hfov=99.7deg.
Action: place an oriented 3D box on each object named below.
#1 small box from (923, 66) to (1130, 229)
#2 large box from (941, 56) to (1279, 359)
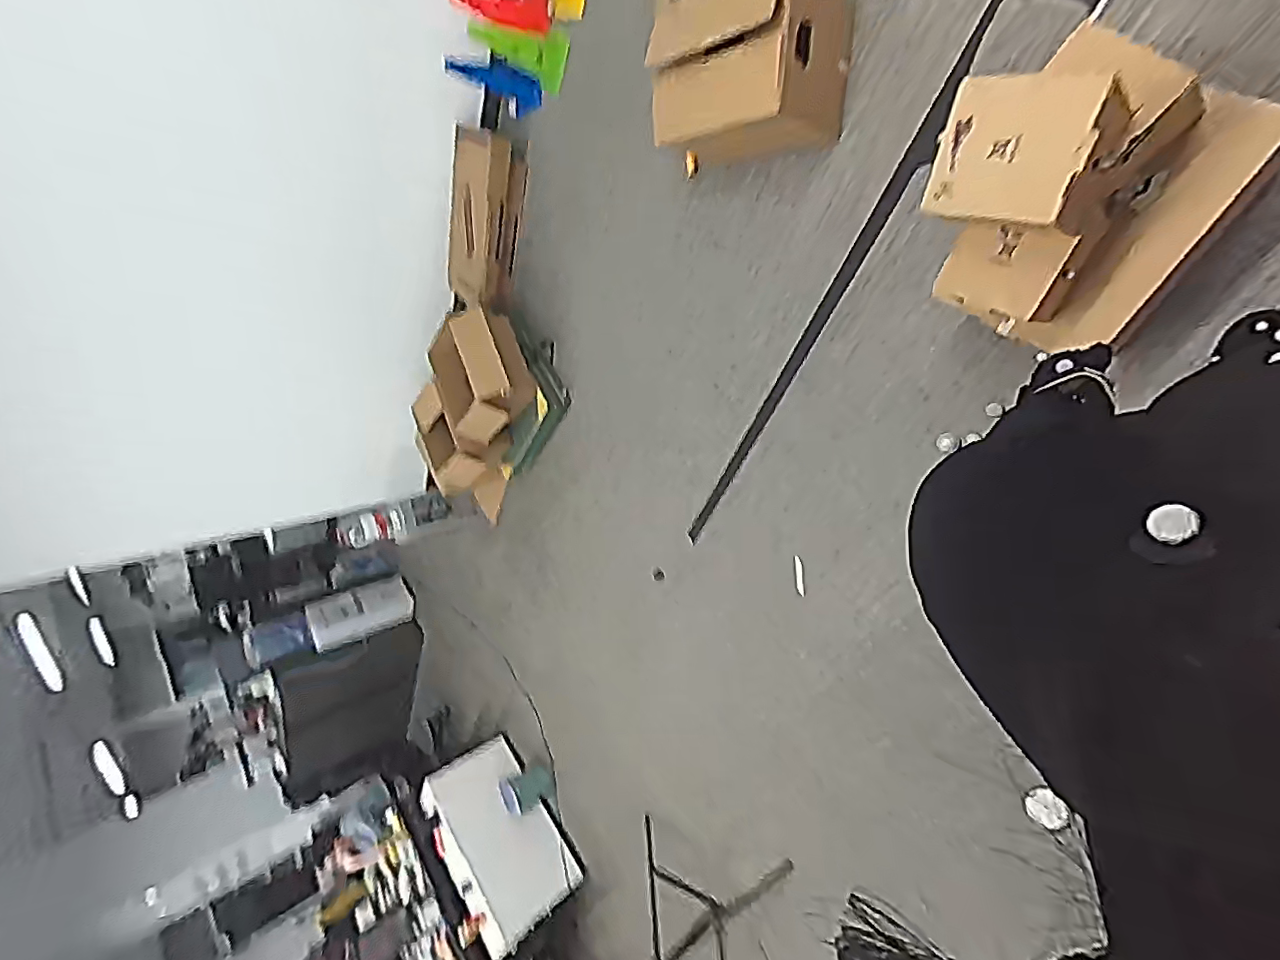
[{"bbox_3d":[0.539,-0.454,0.757,0.179,0.176,0.168,30,122,38],"label":"small box"},{"bbox_3d":[0.863,-0.478,1.011,0.320,0.320,0.408,42,129,30],"label":"large box"}]
